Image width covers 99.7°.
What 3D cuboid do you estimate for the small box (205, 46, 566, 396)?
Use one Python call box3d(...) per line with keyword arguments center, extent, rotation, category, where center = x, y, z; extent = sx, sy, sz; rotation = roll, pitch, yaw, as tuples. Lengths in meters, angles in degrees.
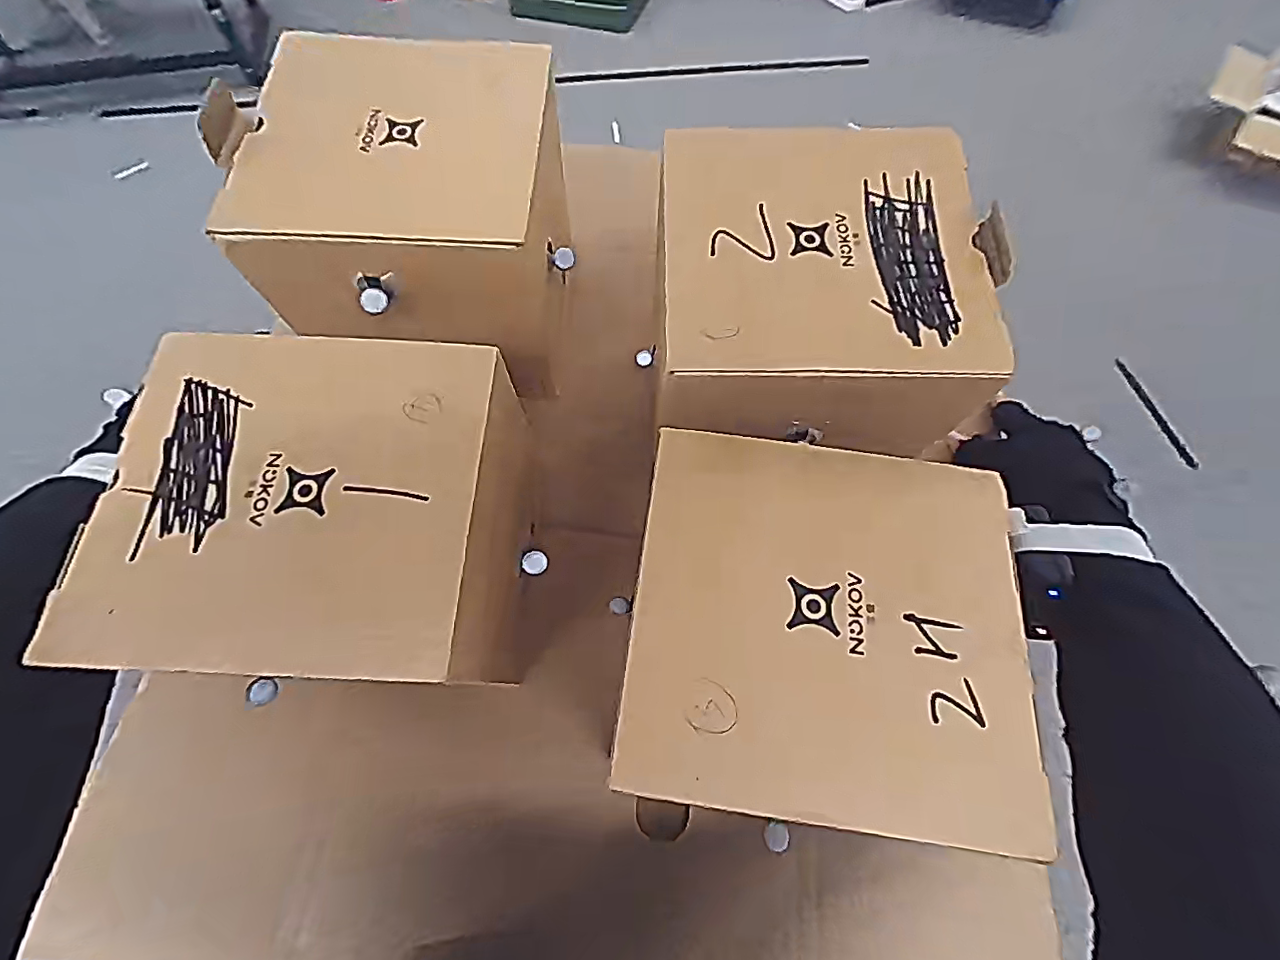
box3d(center=(-0.153, -0.174, 0.400), extent=(0.179, 0.176, 0.168), rotation=(1, 68, 0), category="small box")
